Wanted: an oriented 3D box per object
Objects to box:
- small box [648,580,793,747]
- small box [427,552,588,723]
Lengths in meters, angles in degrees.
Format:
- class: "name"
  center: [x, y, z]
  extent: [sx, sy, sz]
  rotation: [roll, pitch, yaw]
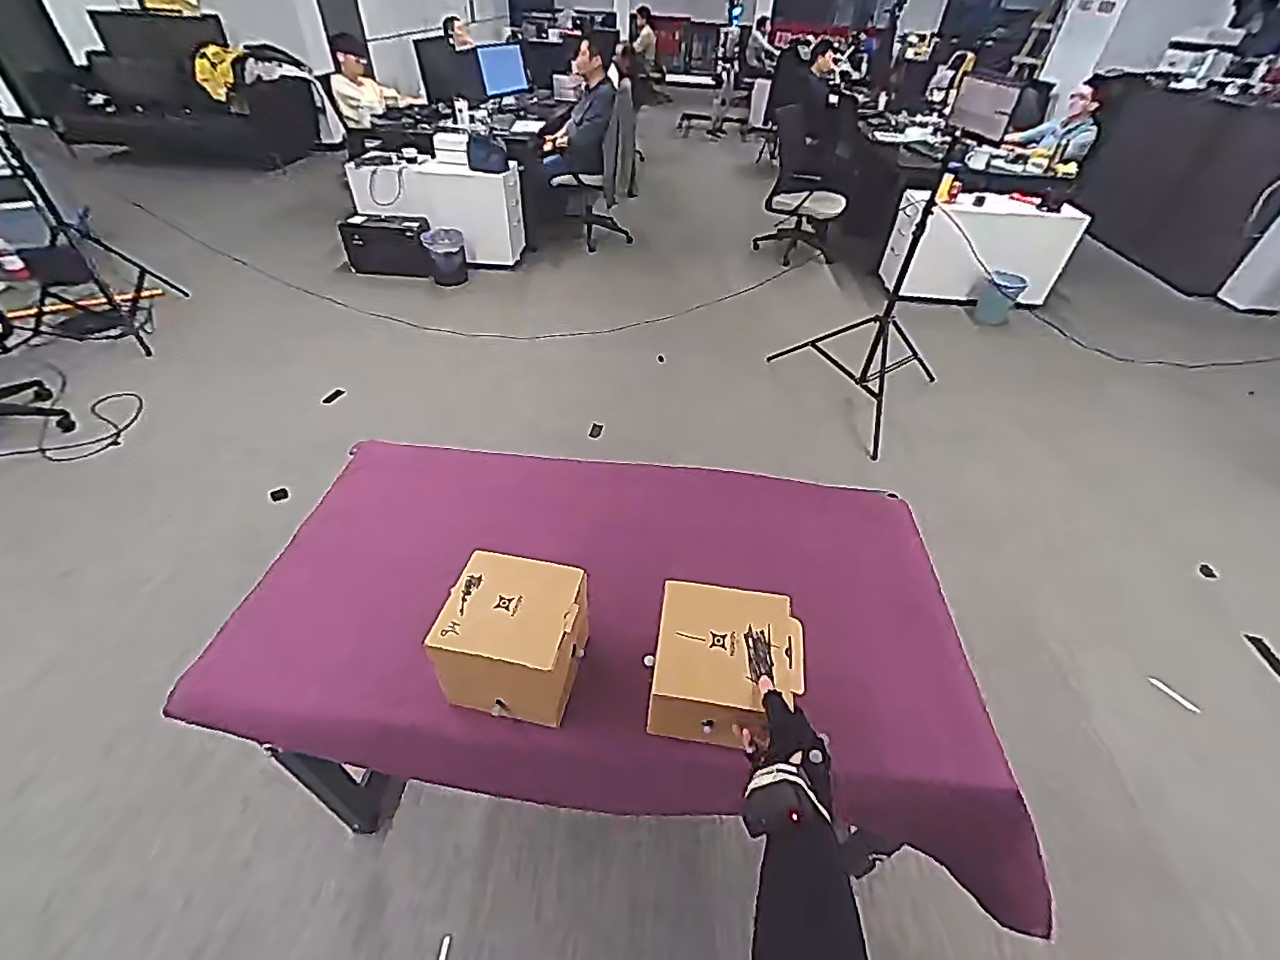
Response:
- class: "small box"
  center: [0.110, 0.266, 0.772]
  extent: [0.179, 0.176, 0.168]
  rotation: [7, 49, 5]
- class: "small box"
  center: [-0.181, 0.236, 0.802]
  extent: [0.179, 0.176, 0.168]
  rotation: [10, 42, 6]
